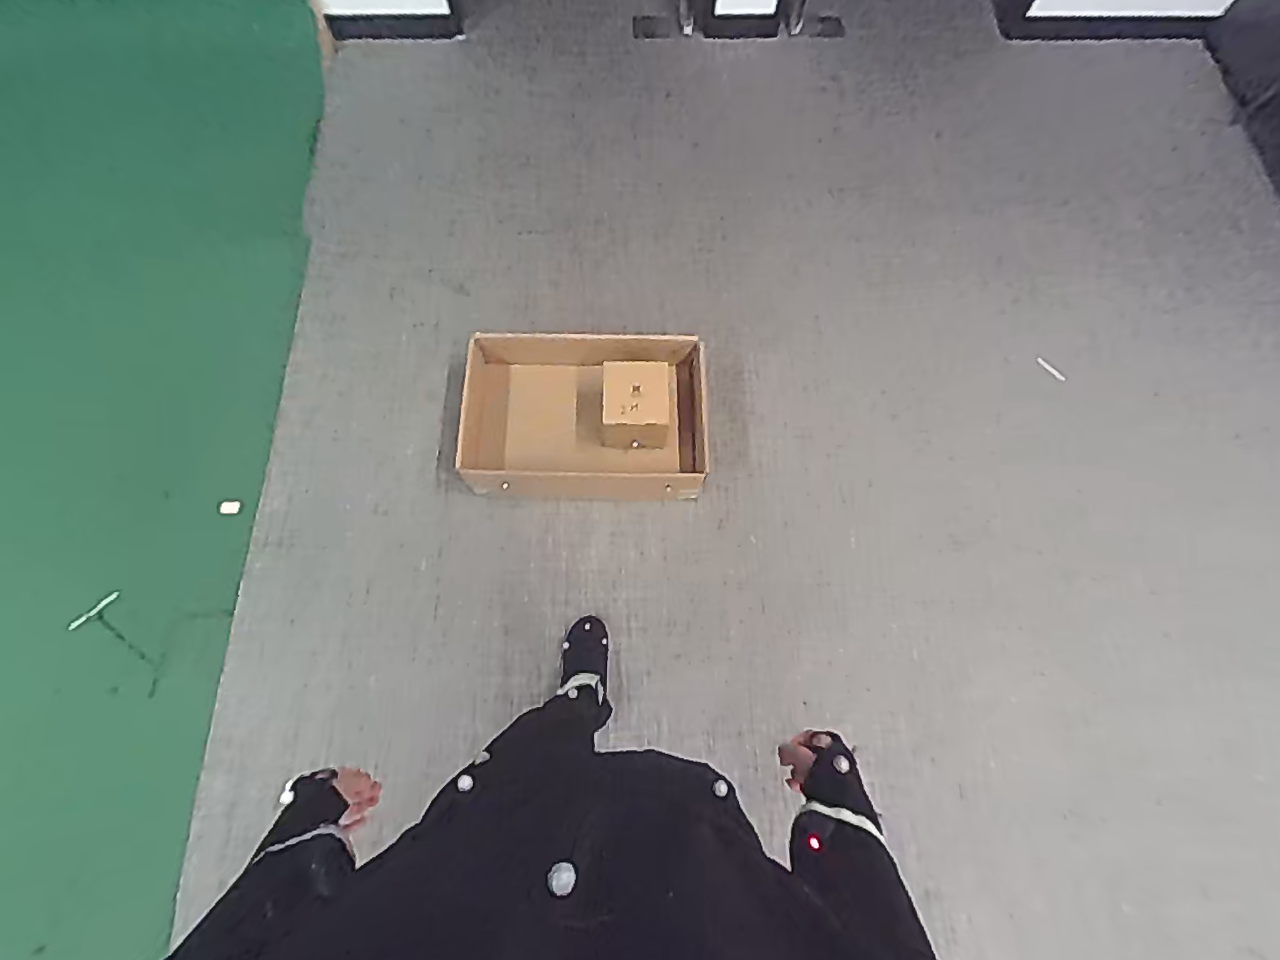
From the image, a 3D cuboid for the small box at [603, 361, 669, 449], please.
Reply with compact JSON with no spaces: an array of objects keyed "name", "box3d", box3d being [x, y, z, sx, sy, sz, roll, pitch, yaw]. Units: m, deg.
[{"name":"small box","box3d":[-0.010,-0.194,1.429,0.168,0.176,0.179,0,72,0]}]
